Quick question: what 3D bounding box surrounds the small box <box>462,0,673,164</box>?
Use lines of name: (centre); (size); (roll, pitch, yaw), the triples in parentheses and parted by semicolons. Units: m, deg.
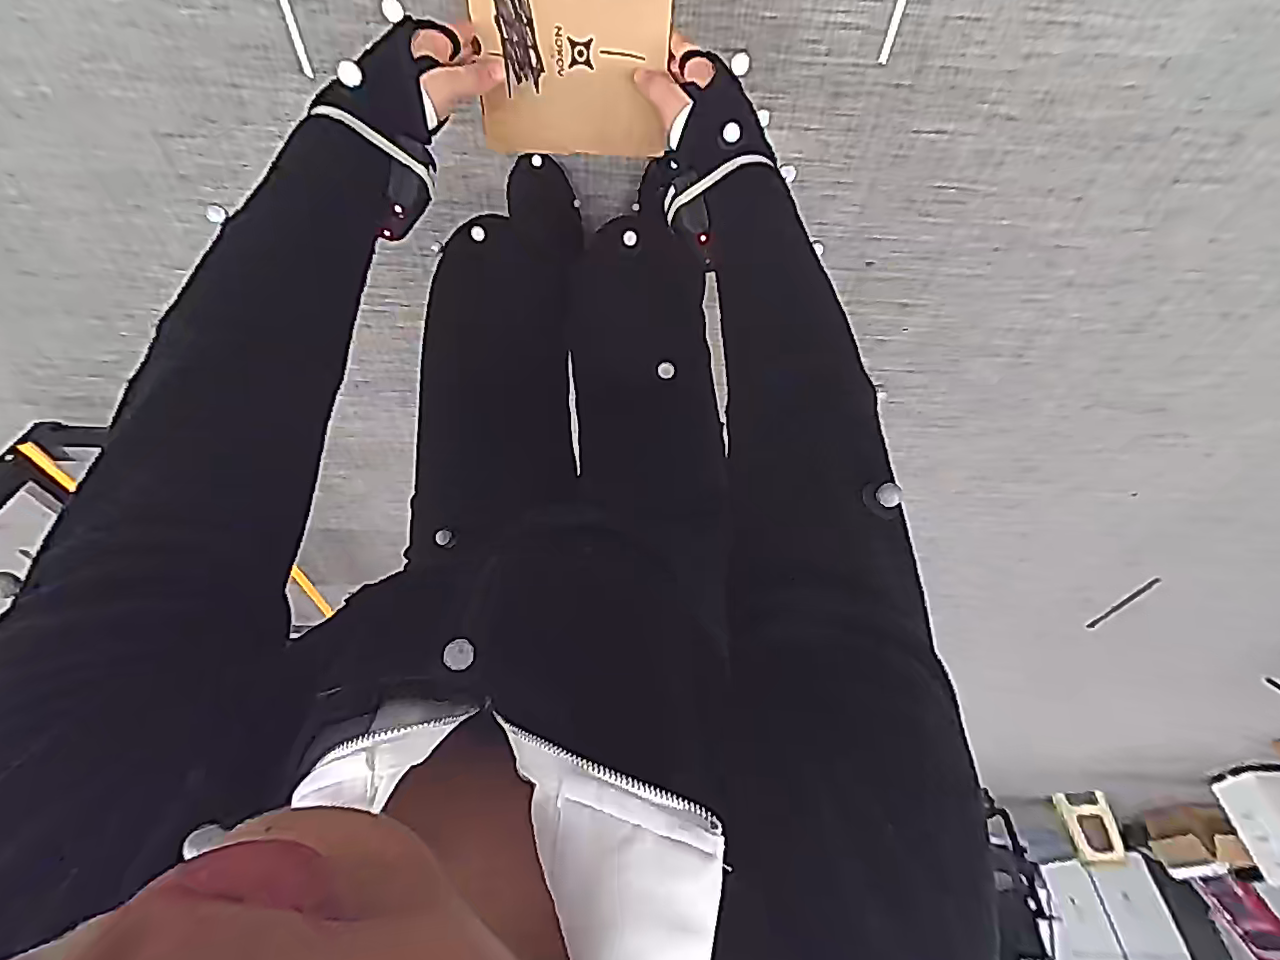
small box: (-0.061, -0.431, 0.527); (0.179, 0.176, 0.168); (2, 138, -3)
